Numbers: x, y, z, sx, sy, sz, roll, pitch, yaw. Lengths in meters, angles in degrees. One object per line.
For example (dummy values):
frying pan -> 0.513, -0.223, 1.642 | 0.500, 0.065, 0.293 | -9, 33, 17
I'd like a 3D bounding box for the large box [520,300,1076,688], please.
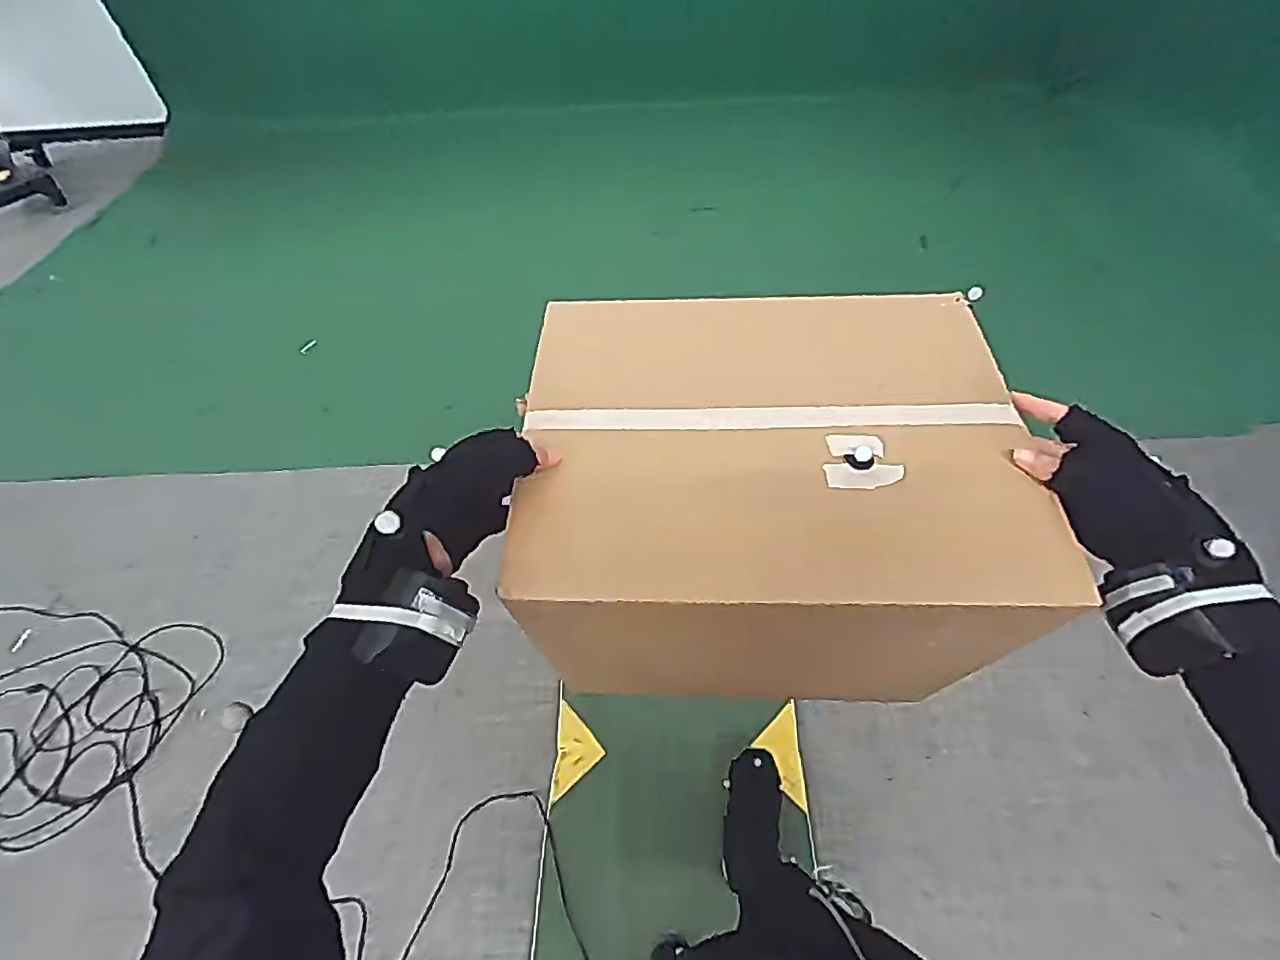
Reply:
large box -> 0.114, 0.031, 0.588 | 0.408, 0.320, 0.320 | 0, 57, 2
